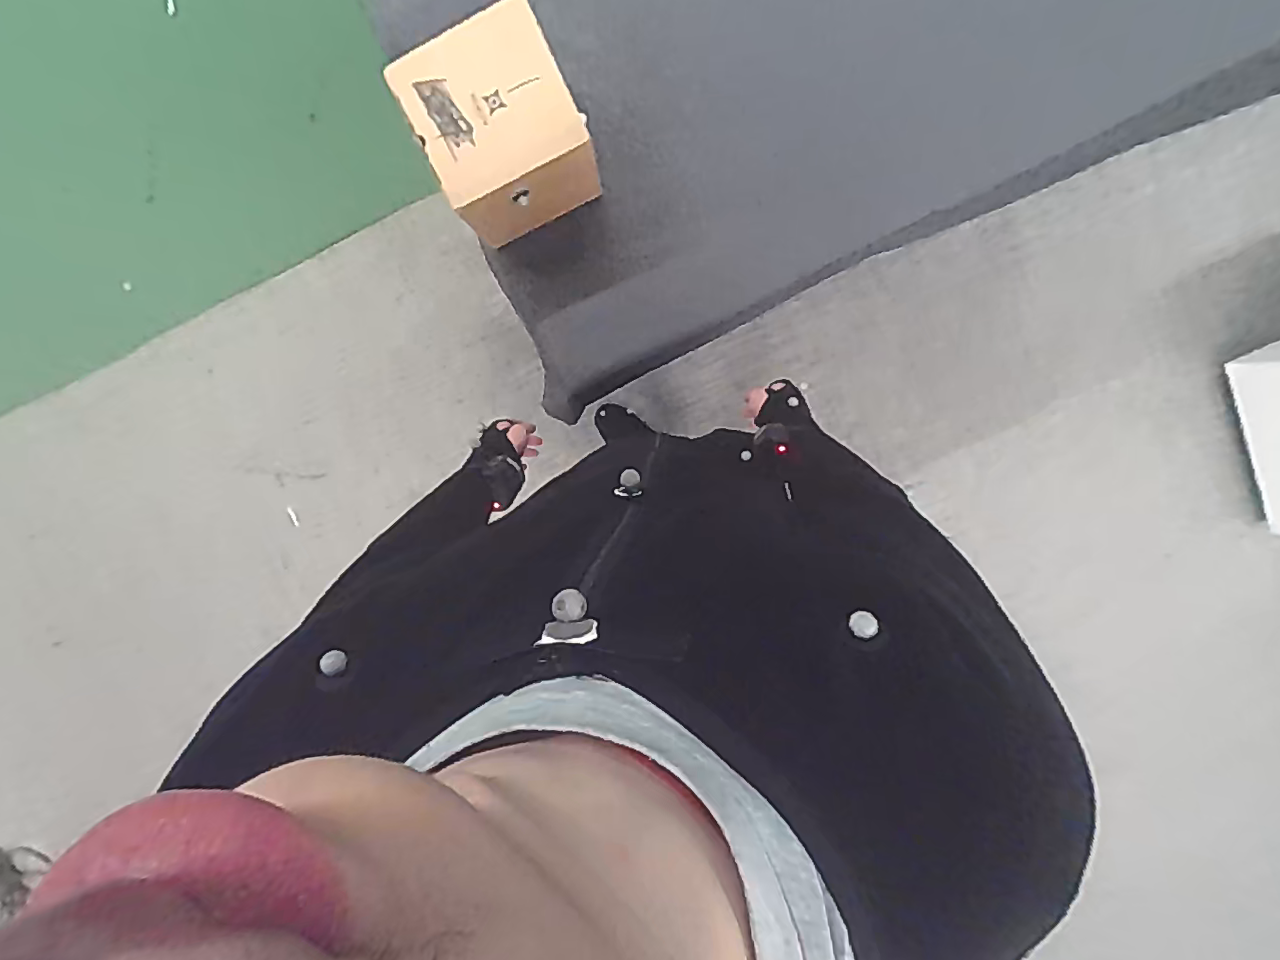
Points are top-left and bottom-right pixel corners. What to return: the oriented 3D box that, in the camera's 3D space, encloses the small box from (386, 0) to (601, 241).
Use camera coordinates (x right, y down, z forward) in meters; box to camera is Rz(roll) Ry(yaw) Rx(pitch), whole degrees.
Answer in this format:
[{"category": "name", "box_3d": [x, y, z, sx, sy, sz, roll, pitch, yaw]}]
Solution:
[{"category": "small box", "box_3d": [-0.161, -0.422, 0.660, 0.179, 0.176, 0.168, -26, 99, 3]}]
